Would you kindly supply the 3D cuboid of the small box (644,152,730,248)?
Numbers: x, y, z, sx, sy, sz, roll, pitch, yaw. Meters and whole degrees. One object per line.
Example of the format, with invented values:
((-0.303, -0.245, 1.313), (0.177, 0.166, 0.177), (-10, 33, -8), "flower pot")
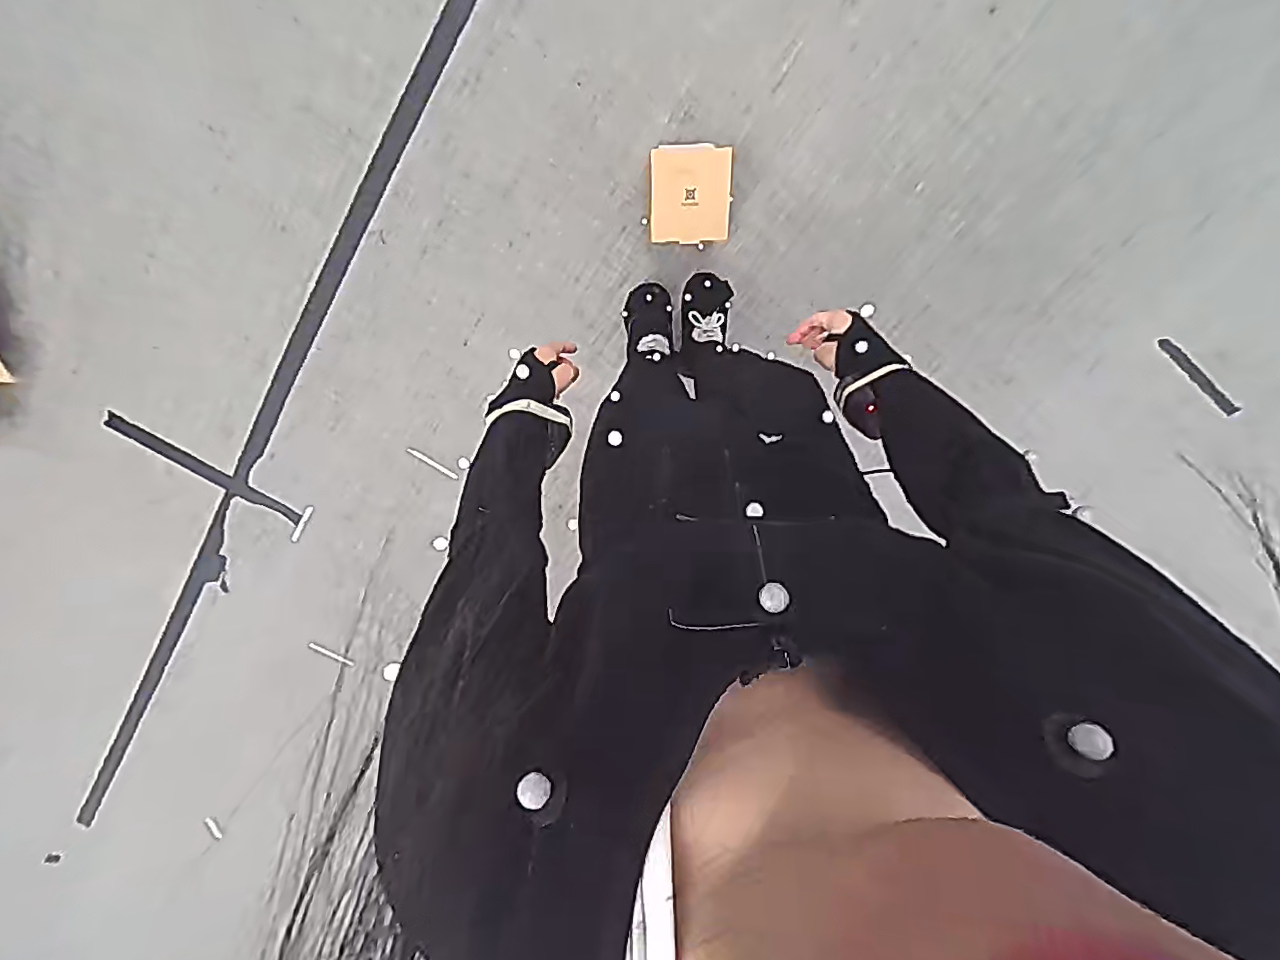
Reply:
((0.098, -0.609, 1.190), (0.168, 0.176, 0.179), (-3, 113, -2), "small box")
